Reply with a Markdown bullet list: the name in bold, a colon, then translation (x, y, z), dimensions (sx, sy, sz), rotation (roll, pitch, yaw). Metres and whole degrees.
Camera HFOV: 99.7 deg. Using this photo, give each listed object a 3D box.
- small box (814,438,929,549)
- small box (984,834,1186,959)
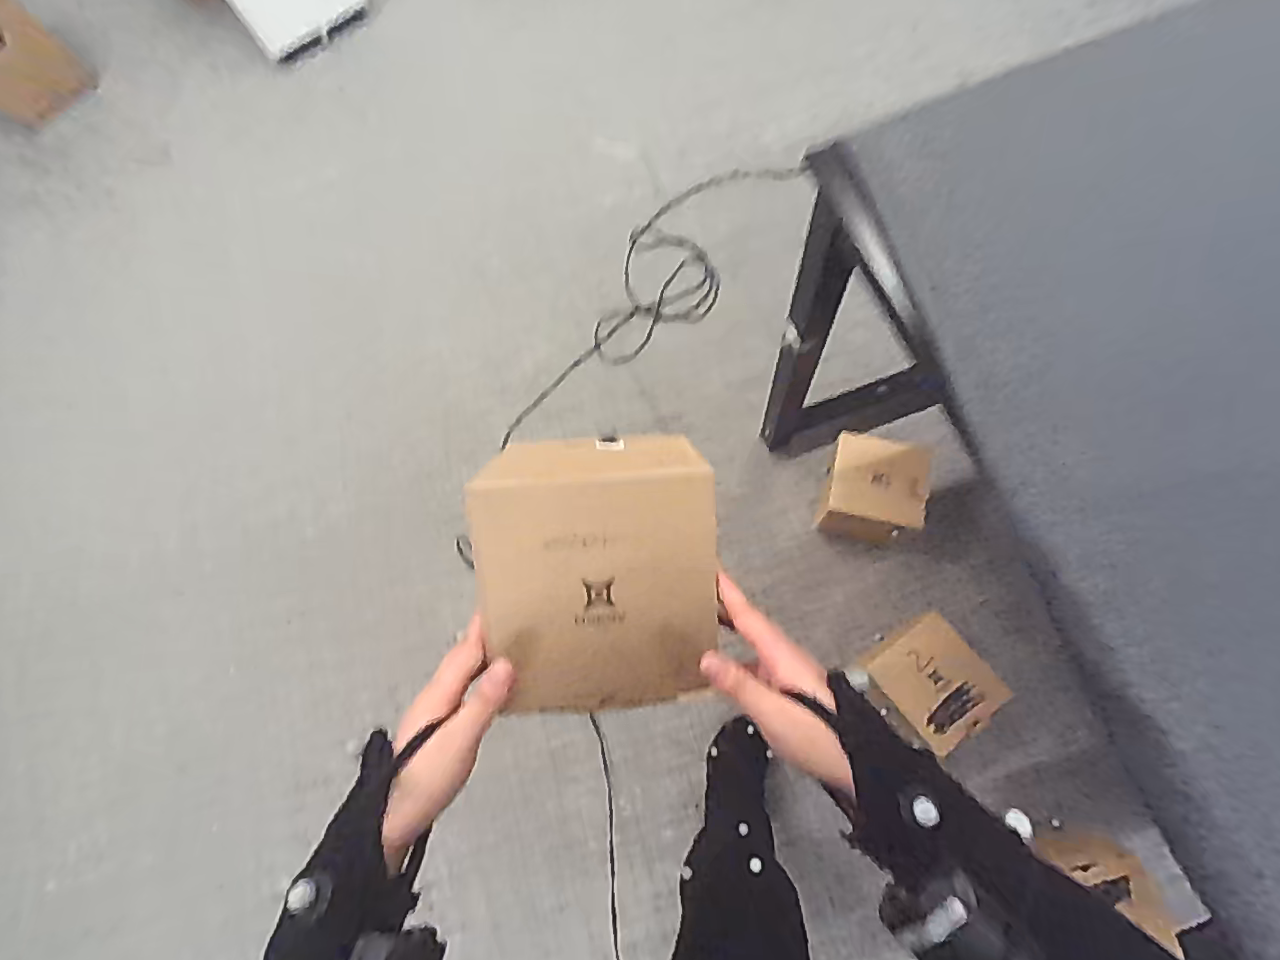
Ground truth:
- **small box**: translation (0.468, 0.033, 1.115), dimensions (0.179, 0.176, 0.168), rotation (12, 72, 10)
- **small box**: translation (0.689, 0.684, 0.851), dimensions (0.168, 0.176, 0.179), rotation (-15, 70, 2)
